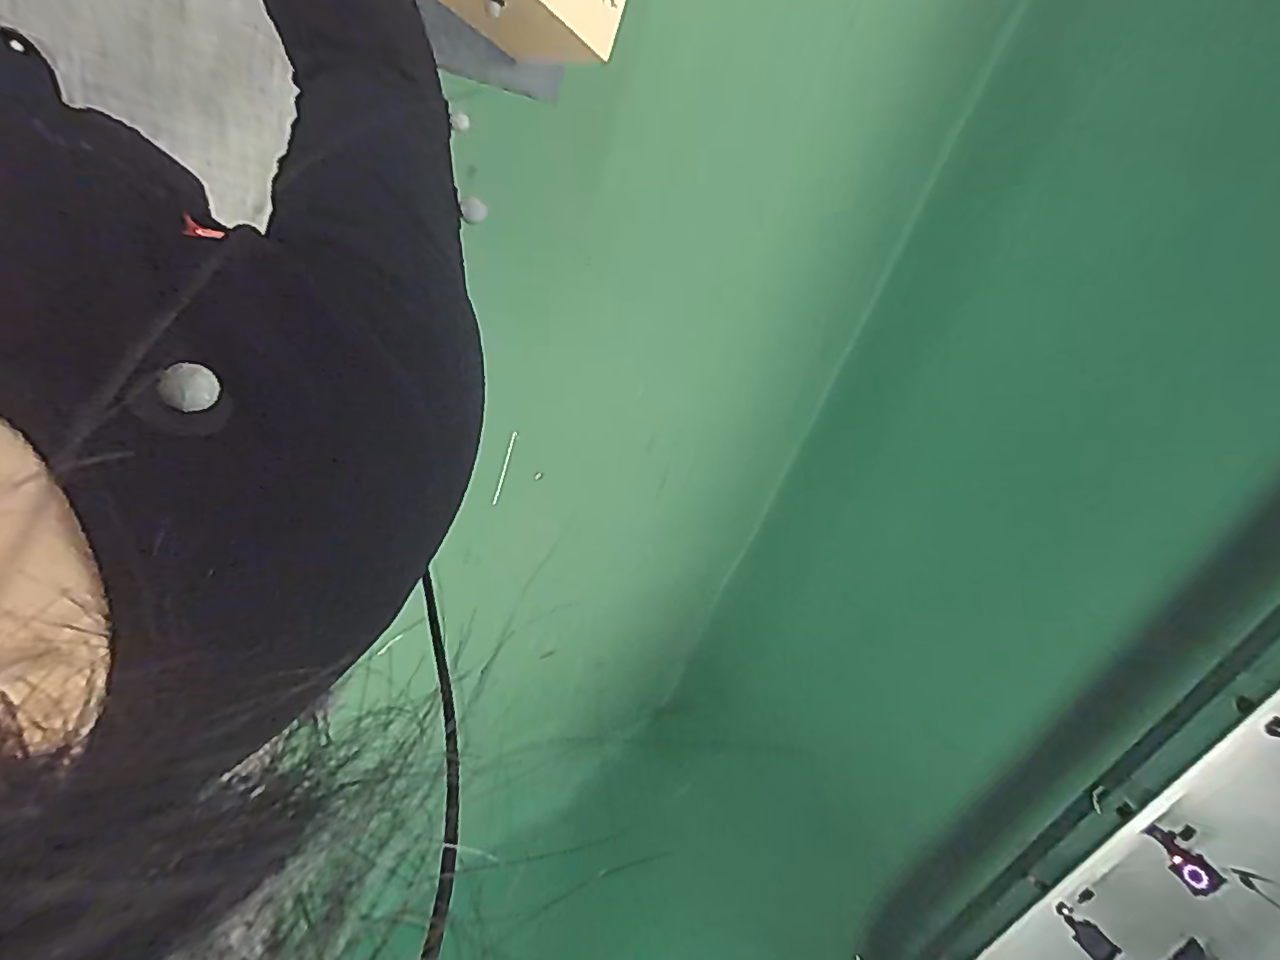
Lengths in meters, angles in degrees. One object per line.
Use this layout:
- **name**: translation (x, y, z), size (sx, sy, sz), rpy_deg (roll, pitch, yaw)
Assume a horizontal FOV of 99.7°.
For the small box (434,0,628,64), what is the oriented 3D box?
- **small box**: translation (-0.118, -0.556, 0.545), size (0.179, 0.176, 0.168), rpy_deg (1, 115, -51)
